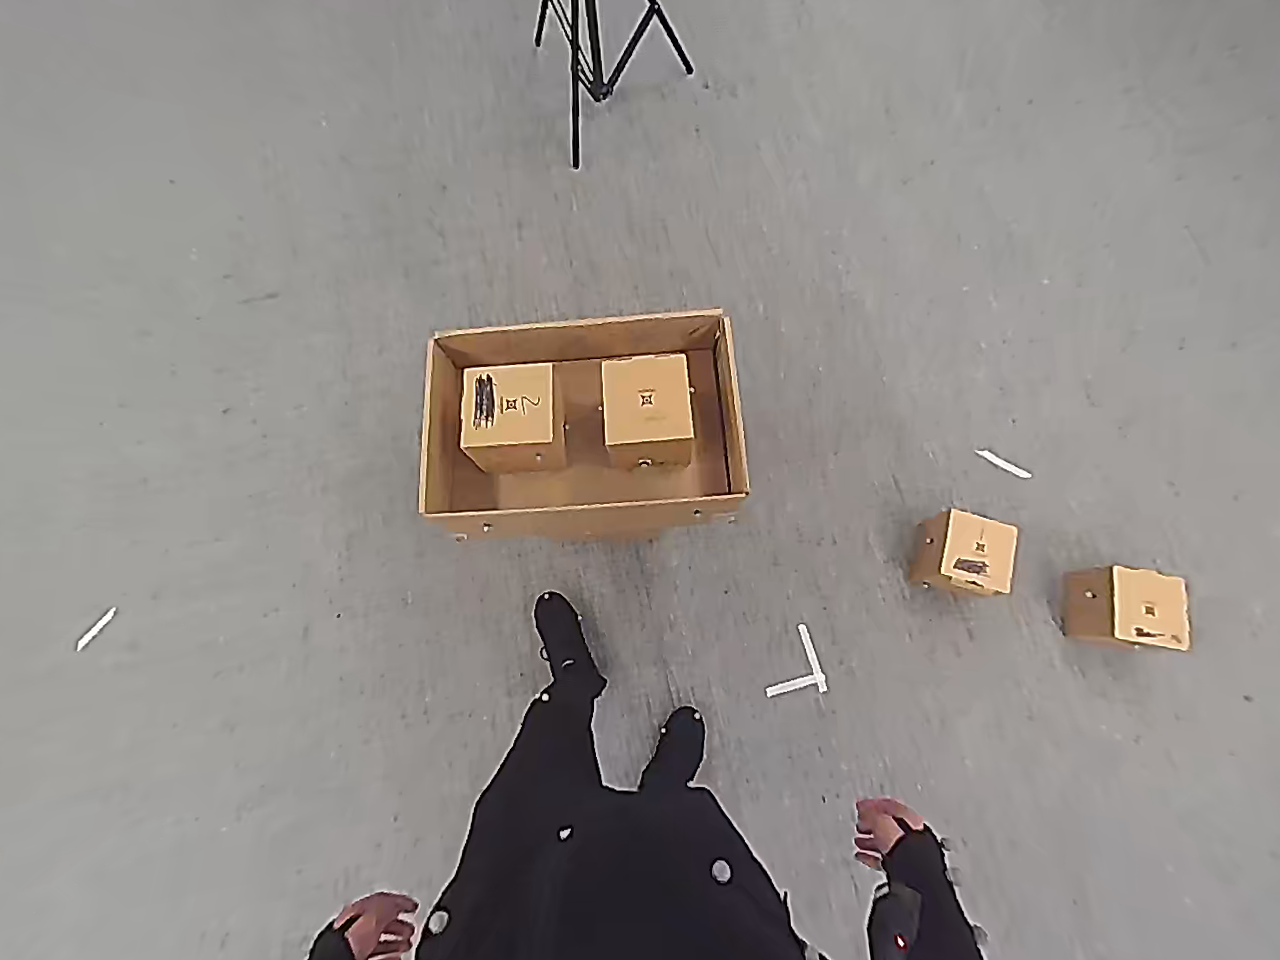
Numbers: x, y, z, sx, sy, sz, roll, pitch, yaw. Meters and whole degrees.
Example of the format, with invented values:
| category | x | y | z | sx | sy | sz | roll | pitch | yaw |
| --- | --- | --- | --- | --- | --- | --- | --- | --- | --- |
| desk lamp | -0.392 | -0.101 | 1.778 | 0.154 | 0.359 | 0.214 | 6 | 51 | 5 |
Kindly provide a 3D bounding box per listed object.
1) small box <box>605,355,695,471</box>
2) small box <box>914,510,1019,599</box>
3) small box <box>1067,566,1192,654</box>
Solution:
| category | x | y | z | sx | sy | sz | roll | pitch | yaw |
| --- | --- | --- | --- | --- | --- | --- | --- | --- | --- |
| small box | 0.020 | -0.131 | 1.094 | 0.168 | 0.176 | 0.179 | -5 | 72 | 2 |
| small box | 0.835 | 0.199 | 1.400 | 0.168 | 0.176 | 0.179 | 17 | 75 | 7 |
| small box | 1.206 | 0.327 | 1.346 | 0.168 | 0.176 | 0.179 | 11 | 73 | 6 |
